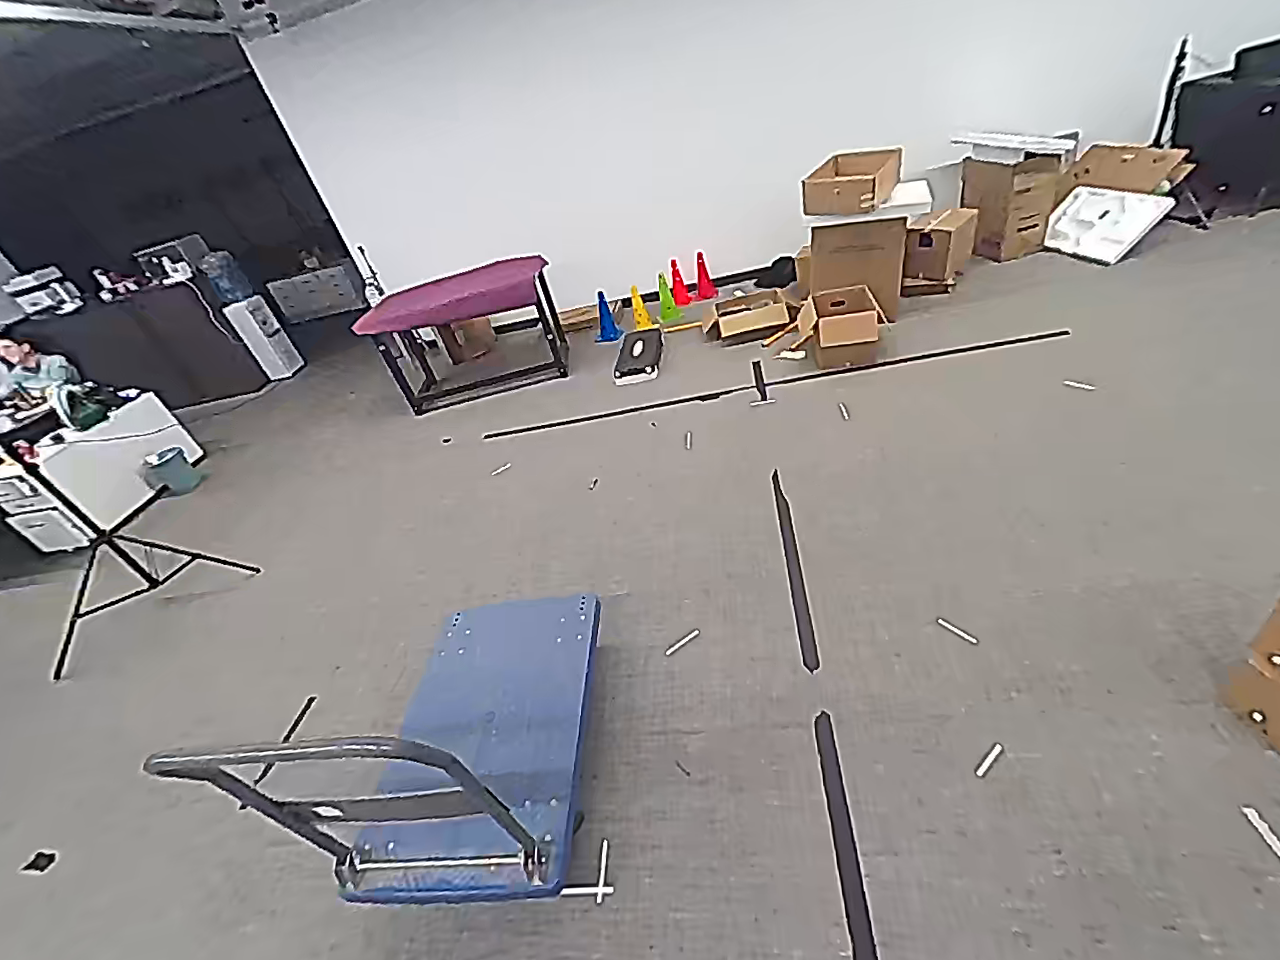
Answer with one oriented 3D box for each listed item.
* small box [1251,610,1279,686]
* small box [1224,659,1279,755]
[{"bbox_3d":[1.498,0.380,1.155,0.179,0.176,0.168,-8,36,12],"label":"small box"},{"bbox_3d":[1.529,0.513,1.244,0.179,0.176,0.168,-15,34,2],"label":"small box"}]
